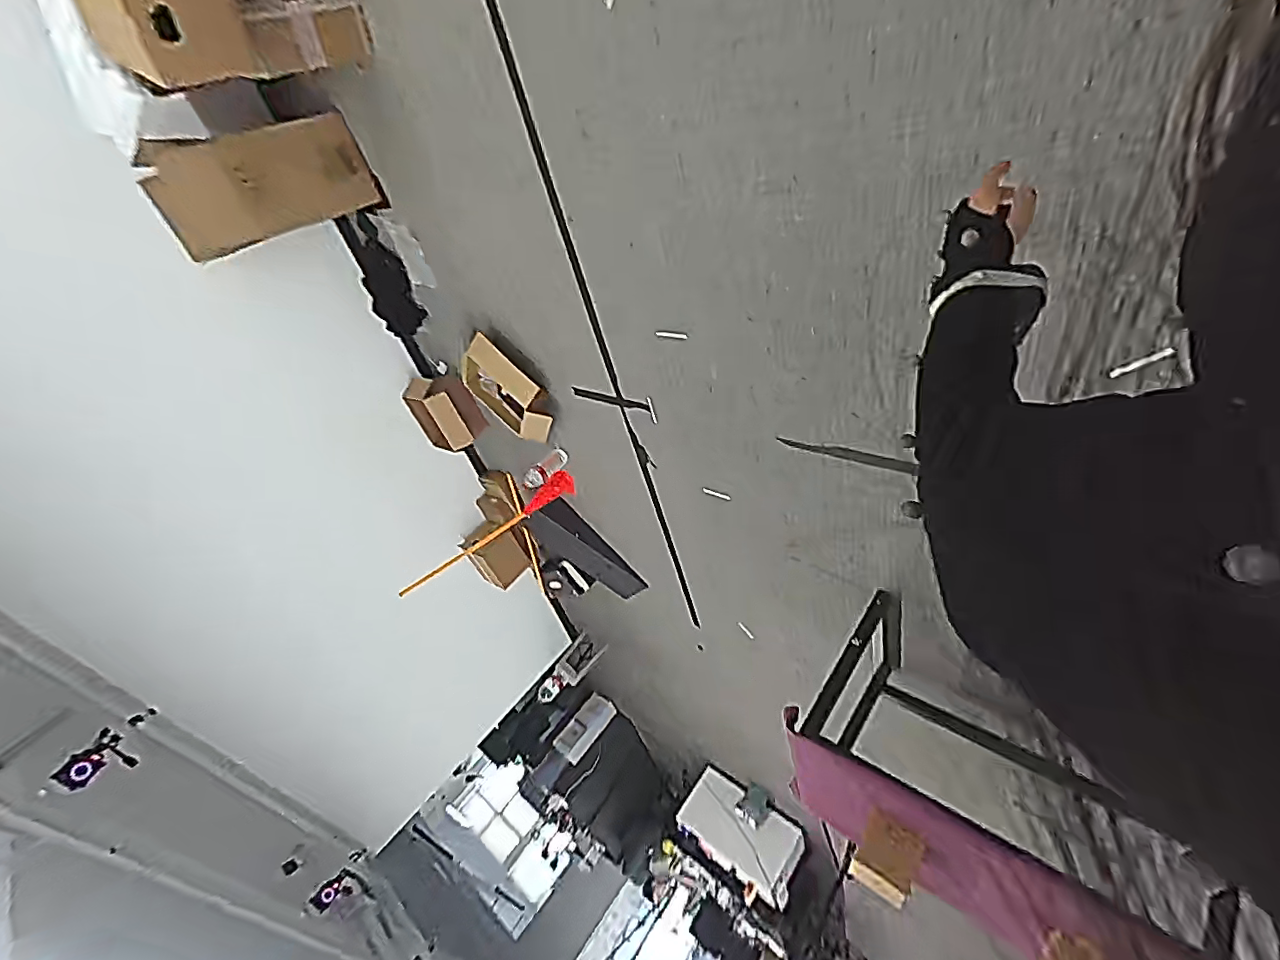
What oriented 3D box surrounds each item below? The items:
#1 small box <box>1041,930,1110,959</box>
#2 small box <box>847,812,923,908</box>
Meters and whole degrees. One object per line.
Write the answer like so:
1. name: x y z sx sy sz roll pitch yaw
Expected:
1. small box: 1.153 1.325 1.407 0.168 0.176 0.179 19 141 38
2. small box: 0.784 1.213 1.730 0.168 0.176 0.179 22 142 34
